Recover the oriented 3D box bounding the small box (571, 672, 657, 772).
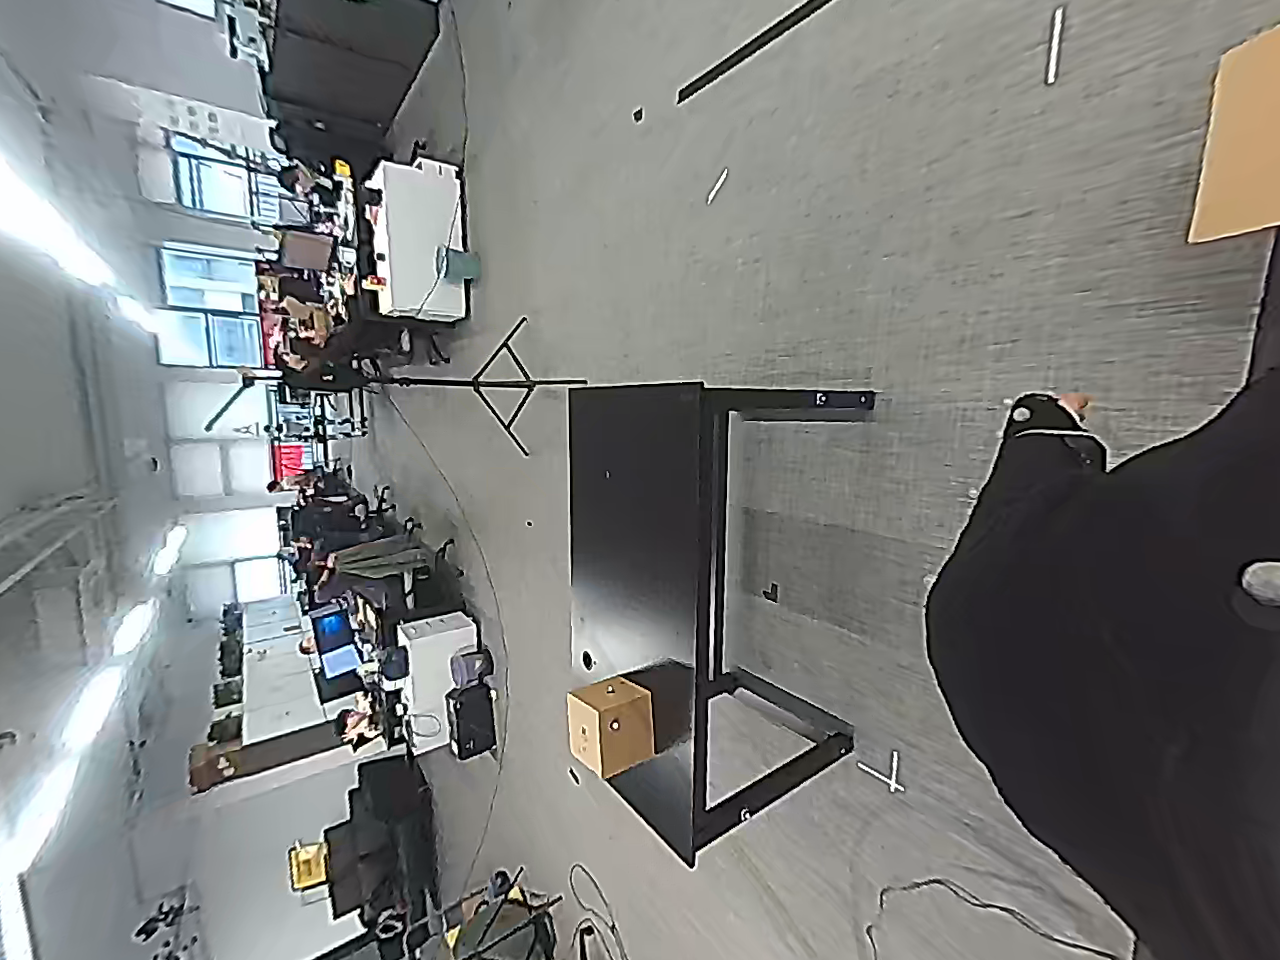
[{"bbox_3d":[-0.069,0.644,1.467,0.168,0.176,0.179,-1,94,55],"label":"small box"}]
